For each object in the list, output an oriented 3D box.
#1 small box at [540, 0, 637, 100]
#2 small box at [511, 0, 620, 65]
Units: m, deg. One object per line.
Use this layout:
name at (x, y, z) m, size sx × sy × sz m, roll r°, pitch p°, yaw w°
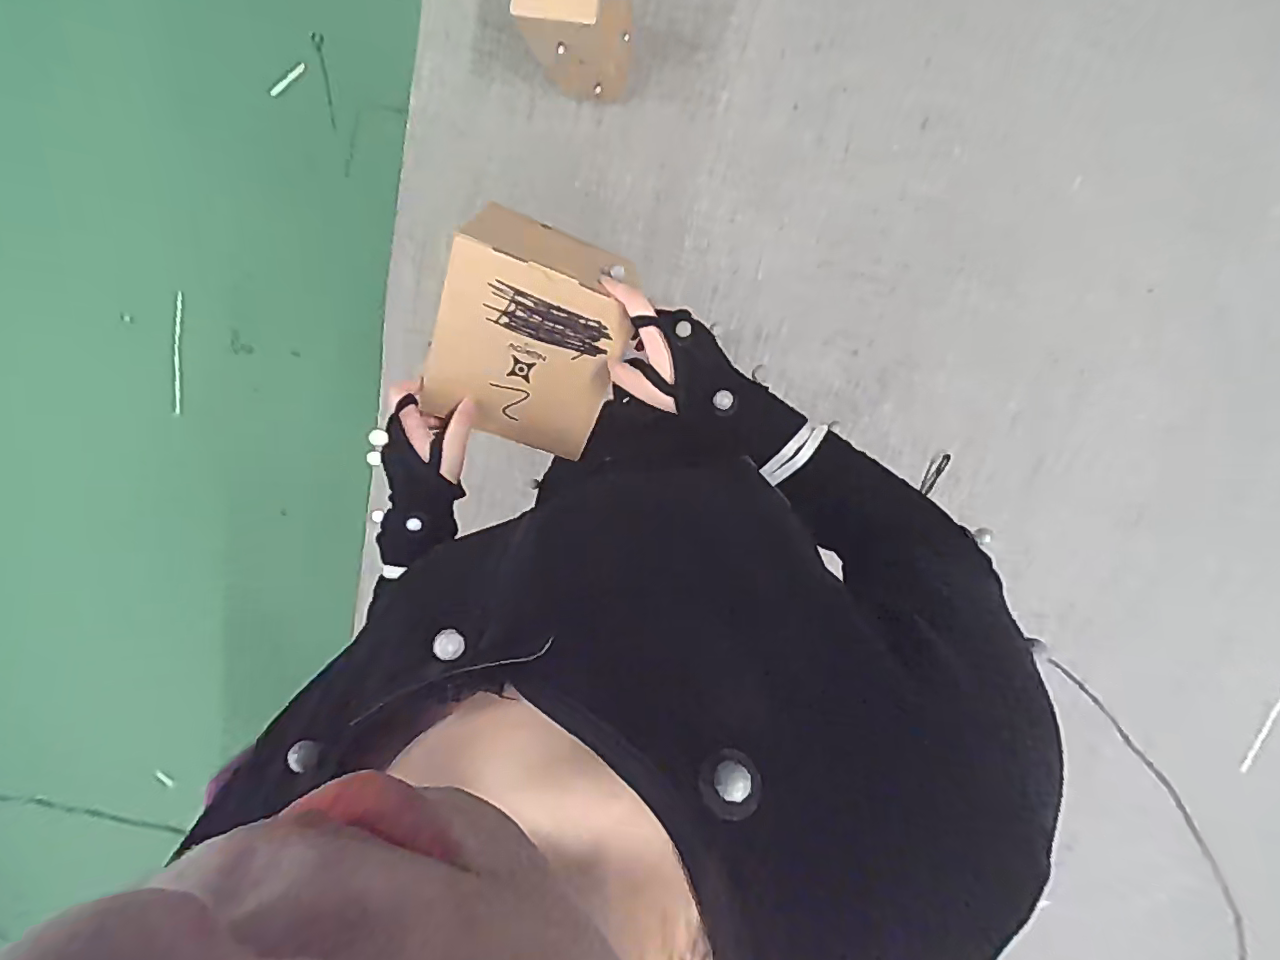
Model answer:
small box at (-0.109, -0.993, 1.214) m, size 0.168 × 0.176 × 0.179 m, roll 13°, pitch 104°, yaw 5°
small box at (-0.136, -0.954, 1.056) m, size 0.168 × 0.176 × 0.179 m, roll 12°, pitch 104°, yaw 5°
